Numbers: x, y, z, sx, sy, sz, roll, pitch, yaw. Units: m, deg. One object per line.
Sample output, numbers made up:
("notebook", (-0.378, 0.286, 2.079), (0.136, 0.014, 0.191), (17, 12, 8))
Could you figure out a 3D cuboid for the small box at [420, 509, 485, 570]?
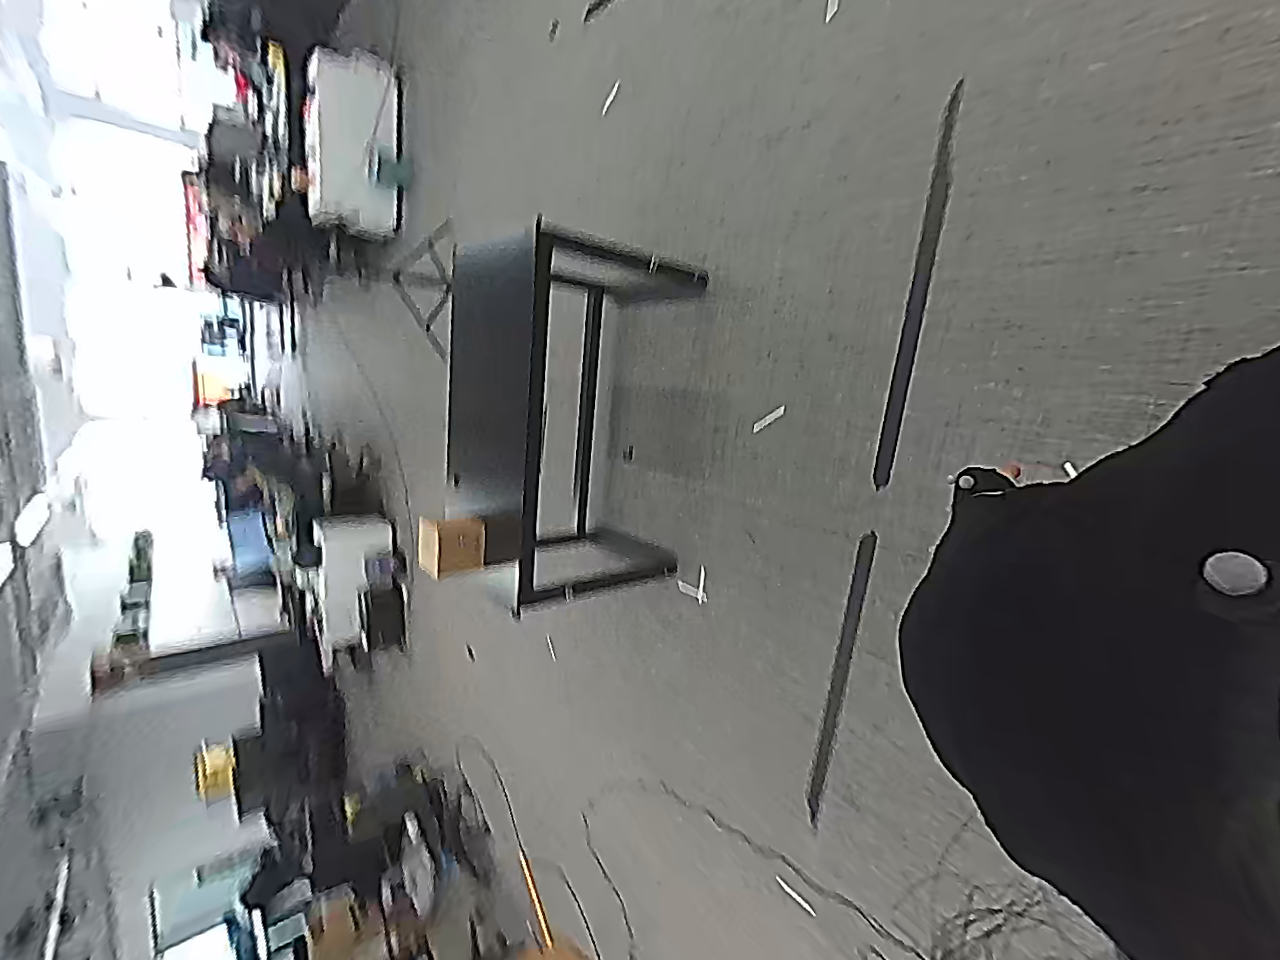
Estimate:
("small box", (-0.652, 0.200, 1.883), (0.179, 0.176, 0.168), (15, 103, 48))
